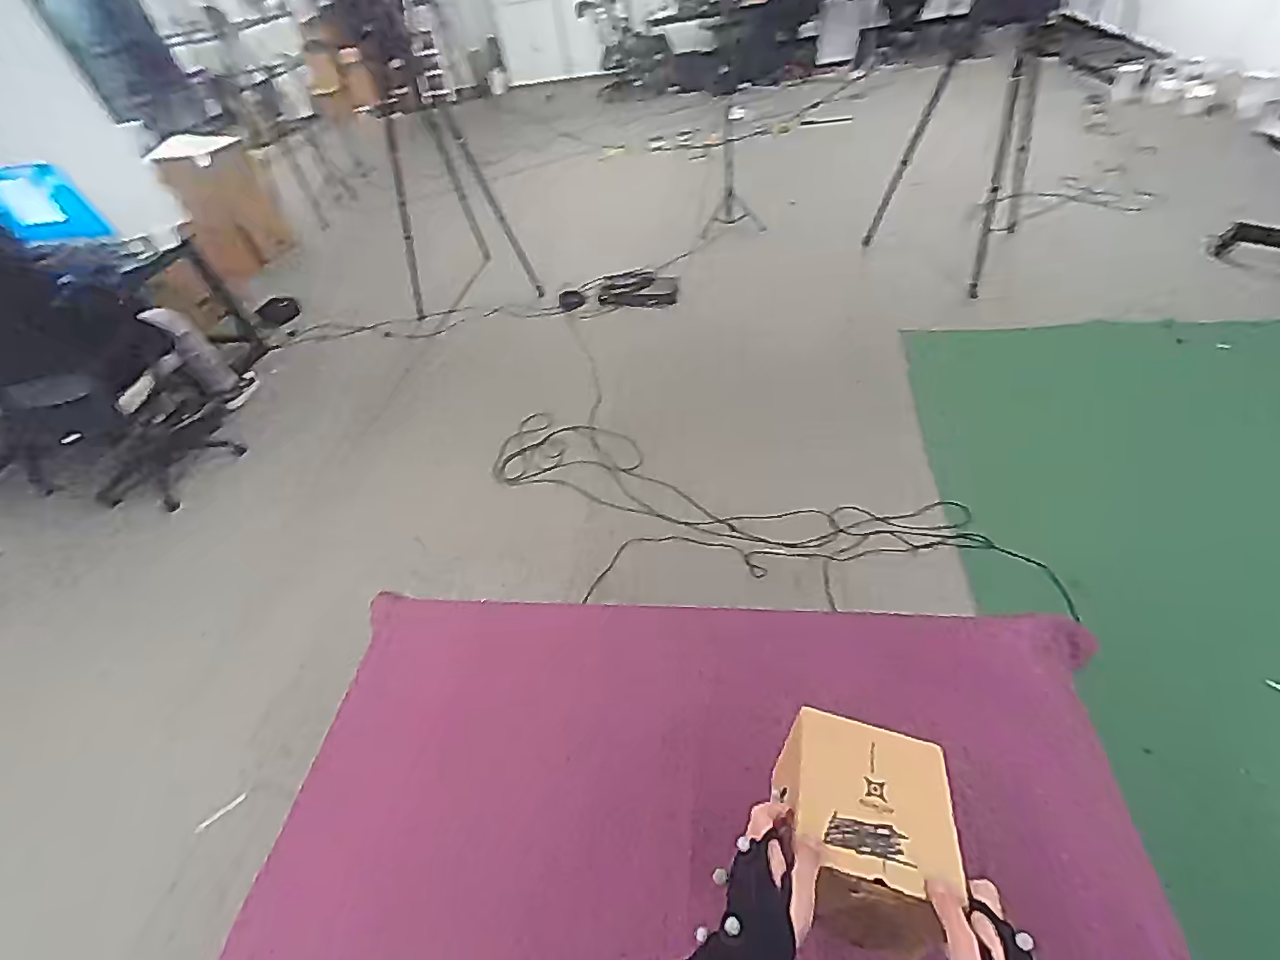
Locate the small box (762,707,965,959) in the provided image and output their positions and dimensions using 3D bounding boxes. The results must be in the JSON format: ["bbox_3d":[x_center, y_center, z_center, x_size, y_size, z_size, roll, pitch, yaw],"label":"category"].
[{"bbox_3d":[0.243,0.407,0.626,0.168,0.176,0.179,13,36,11],"label":"small box"}]
